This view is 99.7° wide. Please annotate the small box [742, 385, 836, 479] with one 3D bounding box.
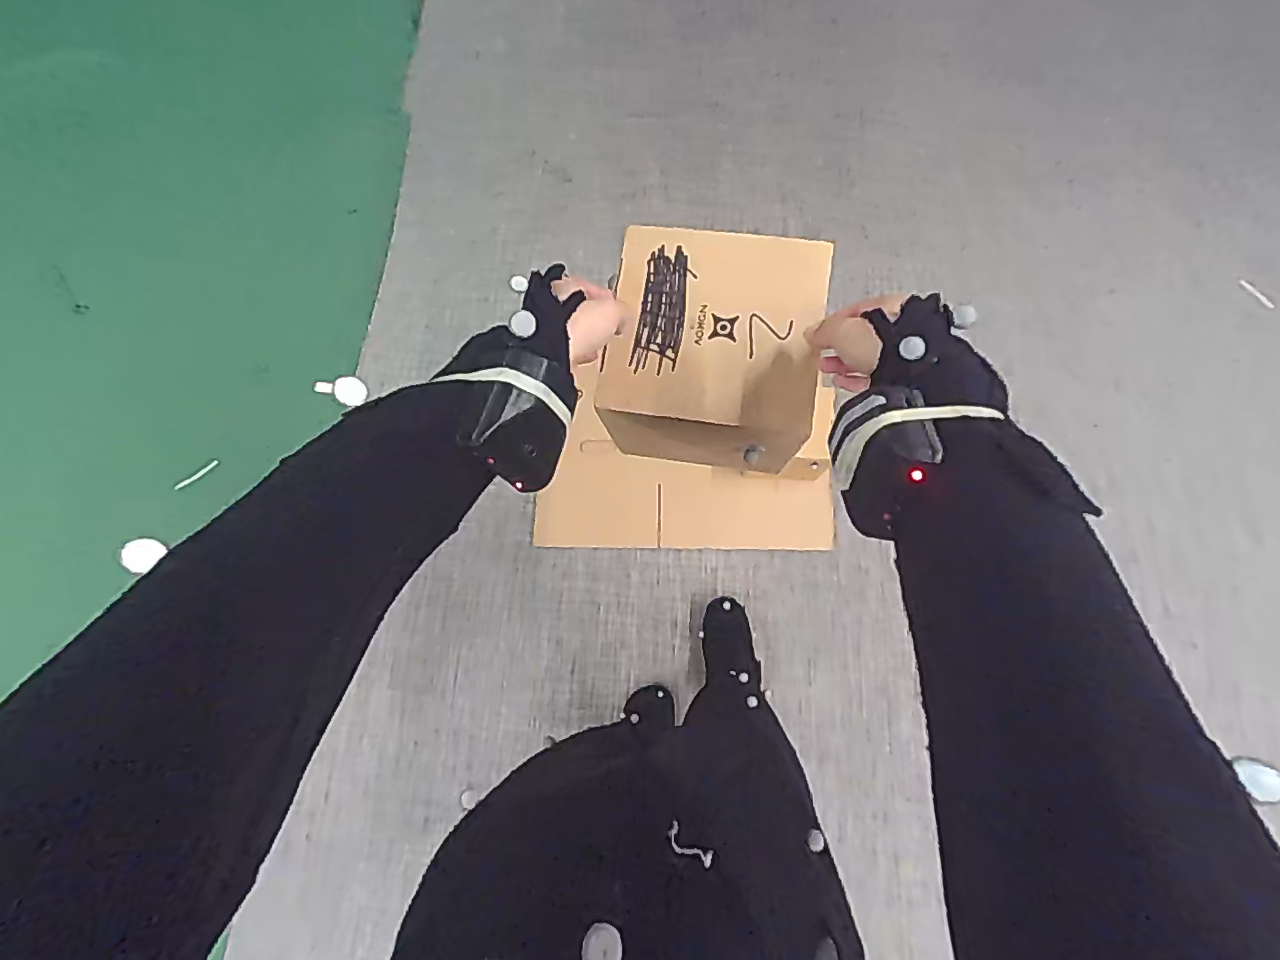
[{"bbox_3d":[0.328,-0.103,1.219,0.179,0.176,0.168,2,75,3],"label":"small box"}]
